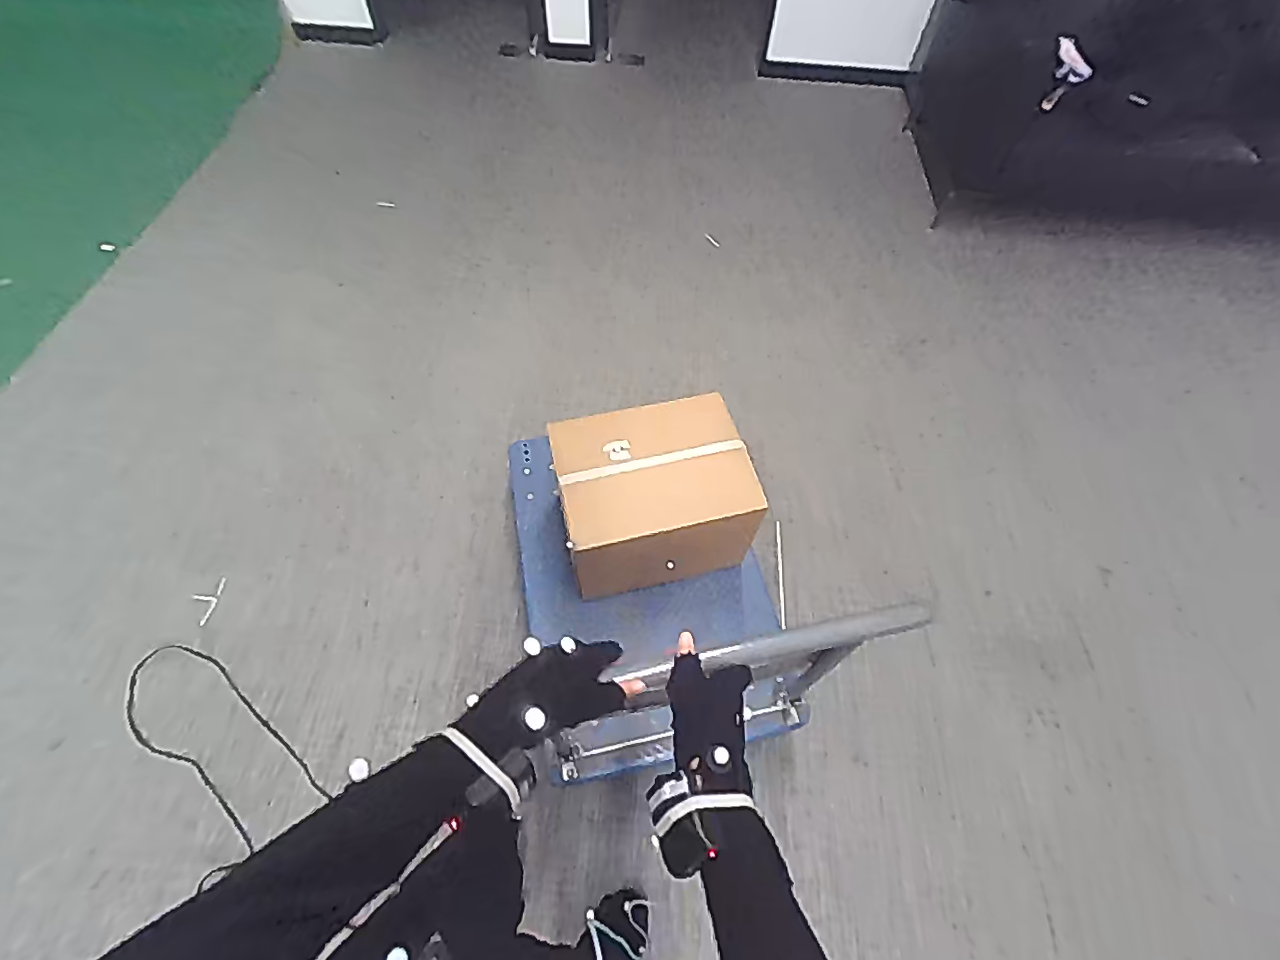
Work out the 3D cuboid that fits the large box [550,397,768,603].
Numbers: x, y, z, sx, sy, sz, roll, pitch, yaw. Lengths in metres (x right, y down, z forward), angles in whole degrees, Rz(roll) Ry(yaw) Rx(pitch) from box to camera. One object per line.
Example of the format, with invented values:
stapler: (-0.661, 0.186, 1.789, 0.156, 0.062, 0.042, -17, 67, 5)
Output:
large box: (0.032, 0.054, 1.272, 0.408, 0.320, 0.320, -13, 60, -9)
